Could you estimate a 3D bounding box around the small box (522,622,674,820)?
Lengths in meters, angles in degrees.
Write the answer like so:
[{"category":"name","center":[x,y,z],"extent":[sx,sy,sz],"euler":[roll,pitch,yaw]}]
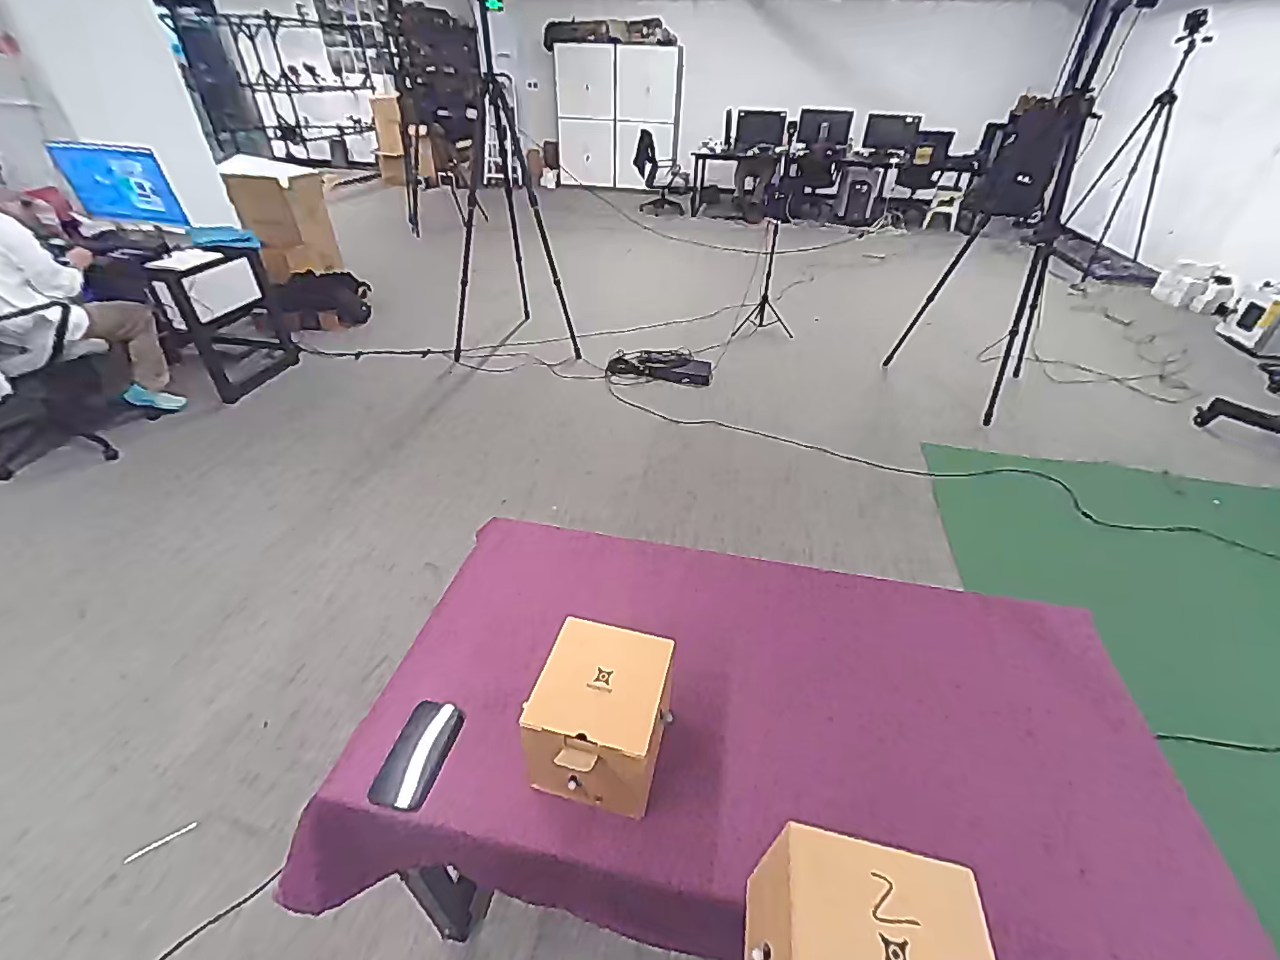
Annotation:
[{"category":"small box","center":[-0.054,0.340,0.773],"extent":[0.168,0.176,0.179],"euler":[10,37,11]}]
